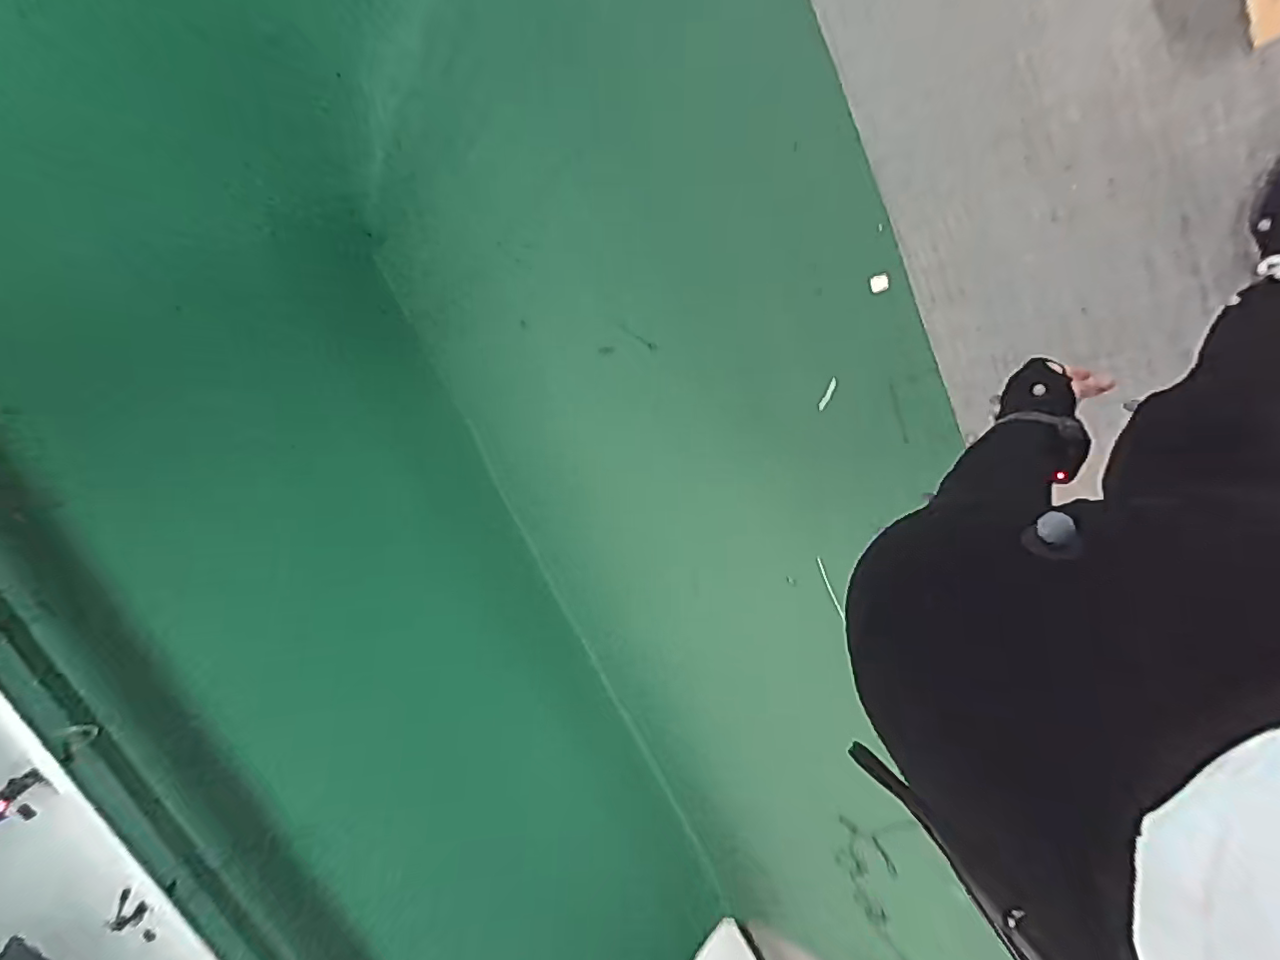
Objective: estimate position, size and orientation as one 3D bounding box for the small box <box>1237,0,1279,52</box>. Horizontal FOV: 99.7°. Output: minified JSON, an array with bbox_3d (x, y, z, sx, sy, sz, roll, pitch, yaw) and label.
[{"bbox_3d":[0.965,-0.741,0.754,0.179,0.176,0.168,-14,106,53],"label":"small box"}]
